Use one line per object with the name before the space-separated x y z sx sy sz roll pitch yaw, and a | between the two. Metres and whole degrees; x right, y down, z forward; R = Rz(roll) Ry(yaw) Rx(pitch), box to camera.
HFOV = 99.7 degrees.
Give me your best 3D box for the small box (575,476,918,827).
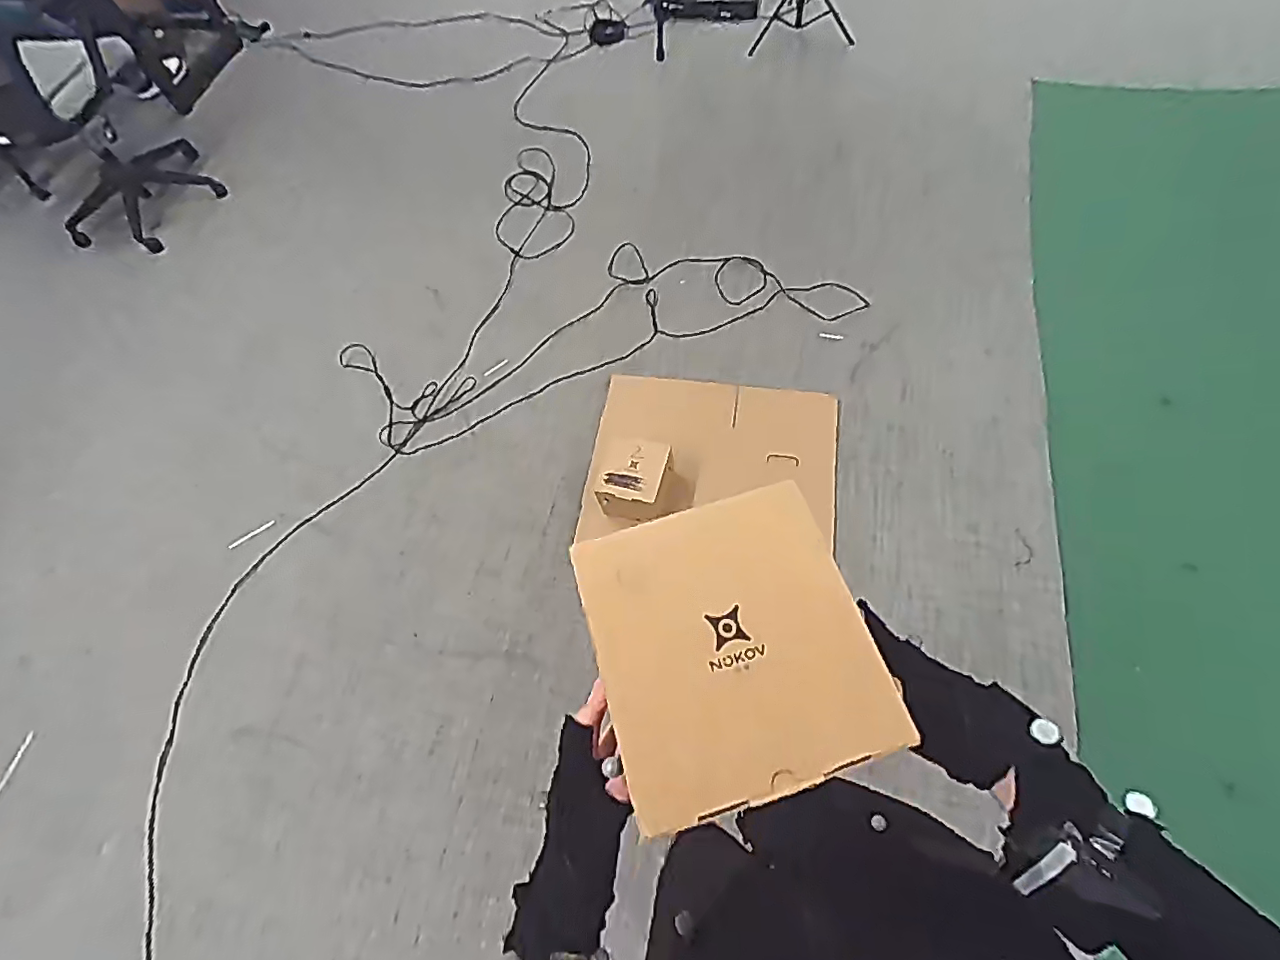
small box | 0.058 0.126 0.405 0.168 0.176 0.179 -17 66 -6
